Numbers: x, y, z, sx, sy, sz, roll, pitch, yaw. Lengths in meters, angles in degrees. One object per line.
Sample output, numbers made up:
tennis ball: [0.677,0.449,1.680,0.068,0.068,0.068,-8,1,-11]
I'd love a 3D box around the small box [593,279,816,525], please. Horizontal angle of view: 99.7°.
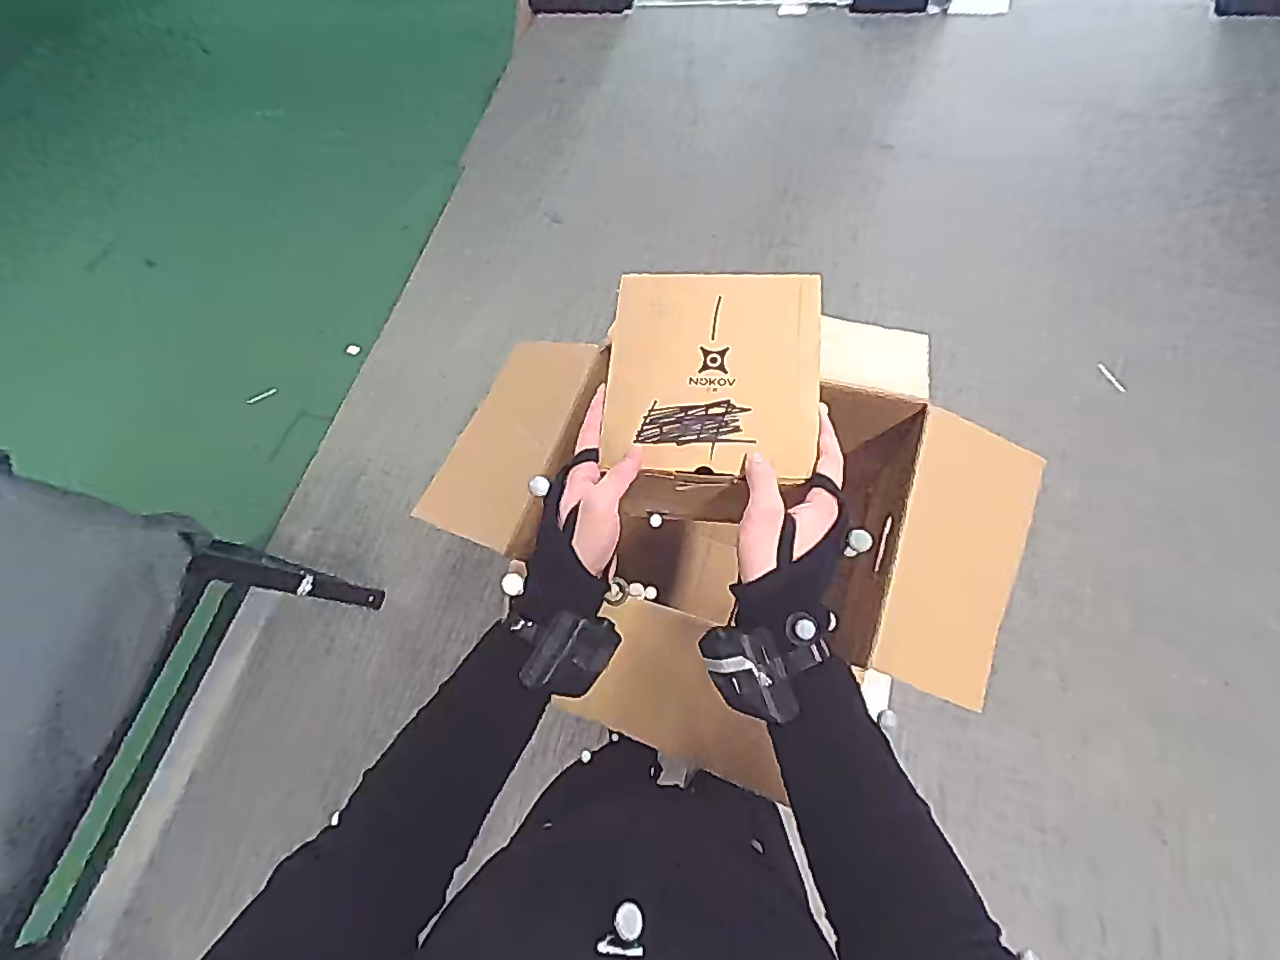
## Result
small box: [0.063,-0.060,0.500,0.168,0.176,0.179,4,74,8]
